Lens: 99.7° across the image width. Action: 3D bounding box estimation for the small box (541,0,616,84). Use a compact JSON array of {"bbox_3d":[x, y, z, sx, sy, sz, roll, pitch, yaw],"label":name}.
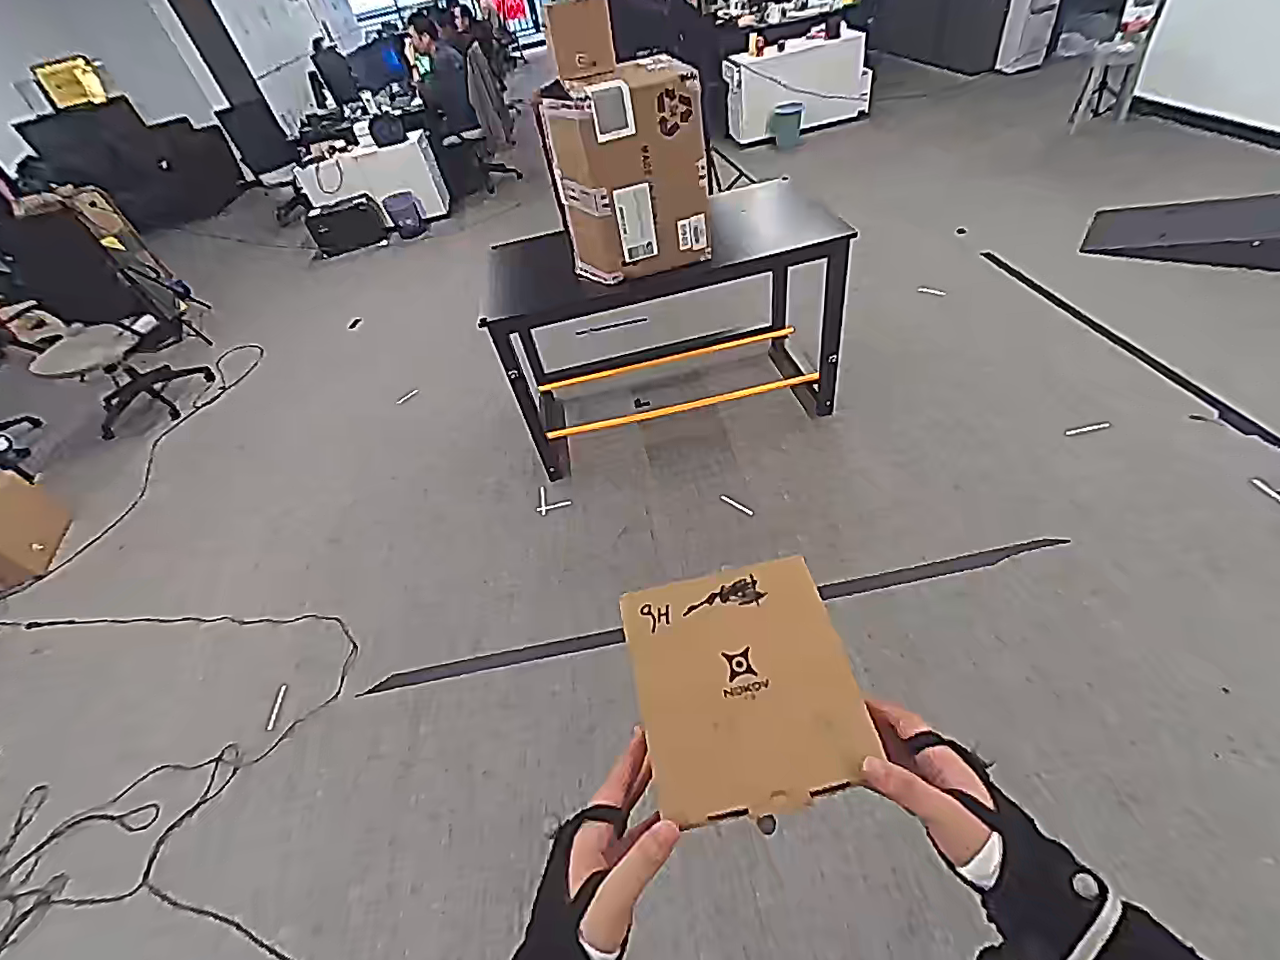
[{"bbox_3d":[-0.174,-1.243,1.531,0.168,0.176,0.179,-16,43,-4],"label":"small box"}]
